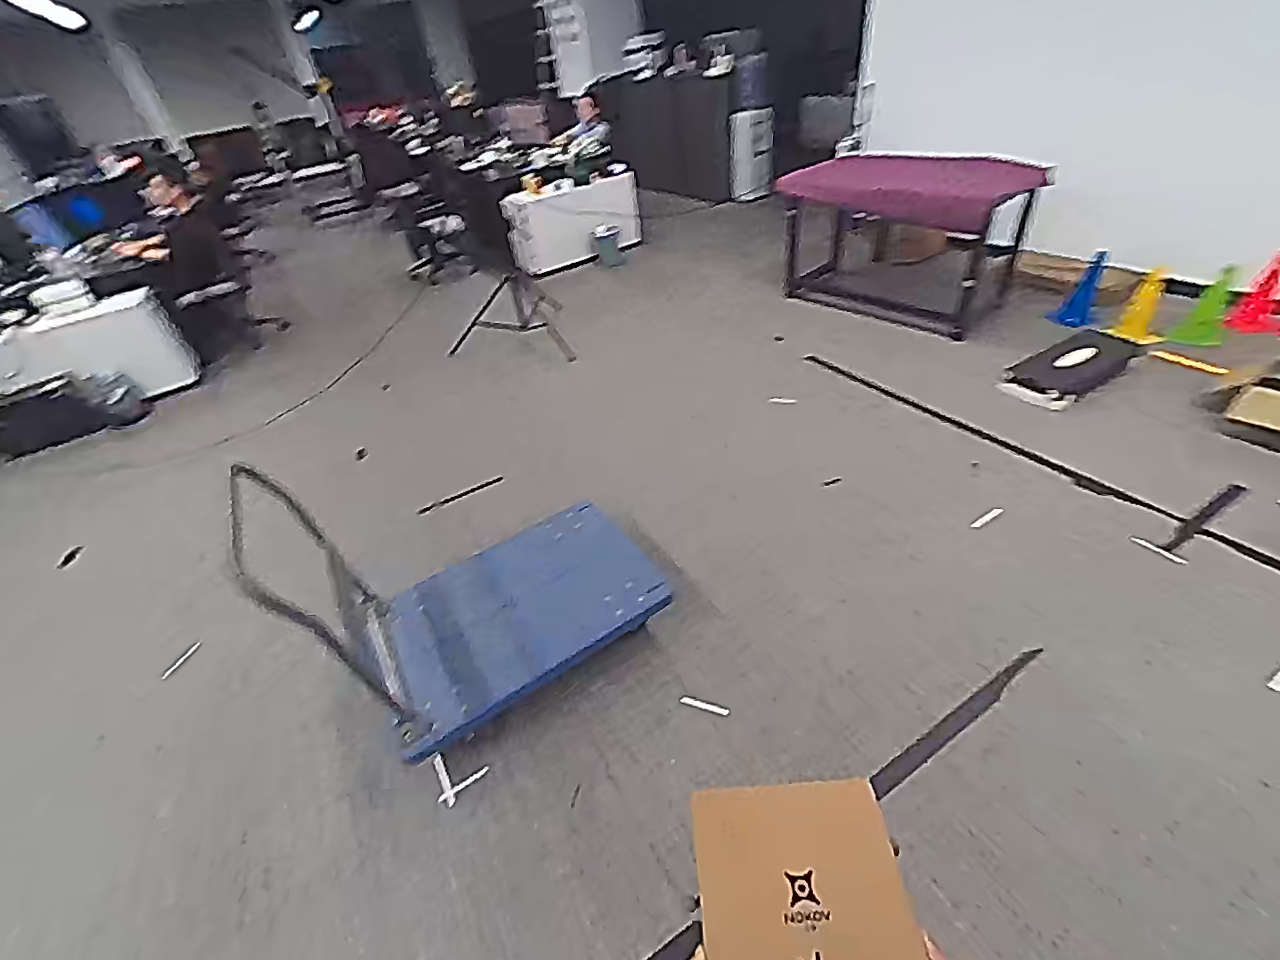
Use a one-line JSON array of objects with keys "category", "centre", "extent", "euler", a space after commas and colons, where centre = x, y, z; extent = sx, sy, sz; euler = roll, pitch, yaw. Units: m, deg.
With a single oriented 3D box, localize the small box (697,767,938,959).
[{"category": "small box", "centre": [0.142, 0.386, 0.483], "extent": [0.168, 0.176, 0.179], "euler": [-6, 41, 2]}]
